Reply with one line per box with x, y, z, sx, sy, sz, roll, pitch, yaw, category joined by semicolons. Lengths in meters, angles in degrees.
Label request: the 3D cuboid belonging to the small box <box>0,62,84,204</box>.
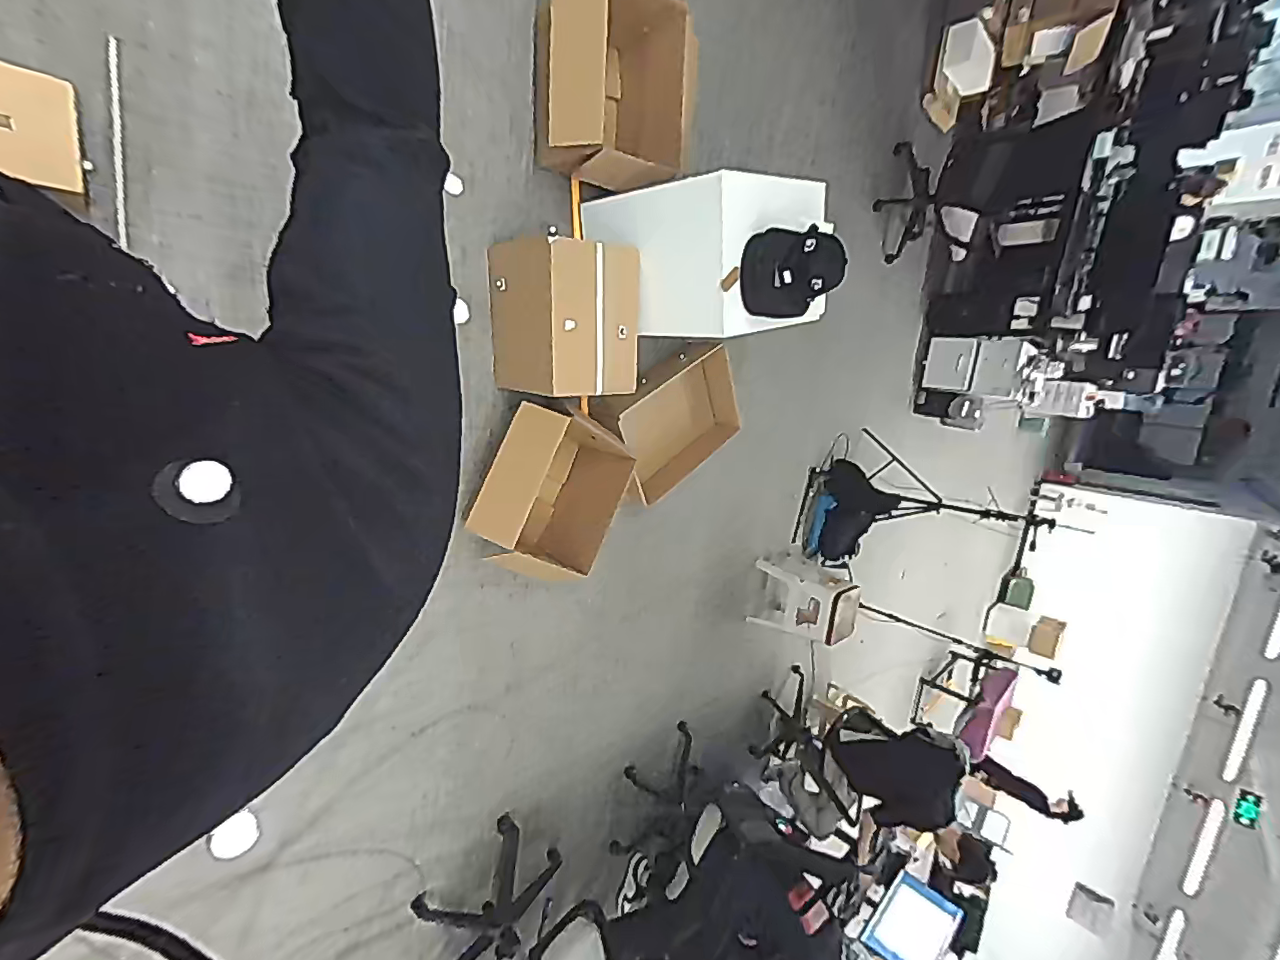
-1.021;-0.556;0.862;0.179;0.176;0.168;-6;106;-44;small box
